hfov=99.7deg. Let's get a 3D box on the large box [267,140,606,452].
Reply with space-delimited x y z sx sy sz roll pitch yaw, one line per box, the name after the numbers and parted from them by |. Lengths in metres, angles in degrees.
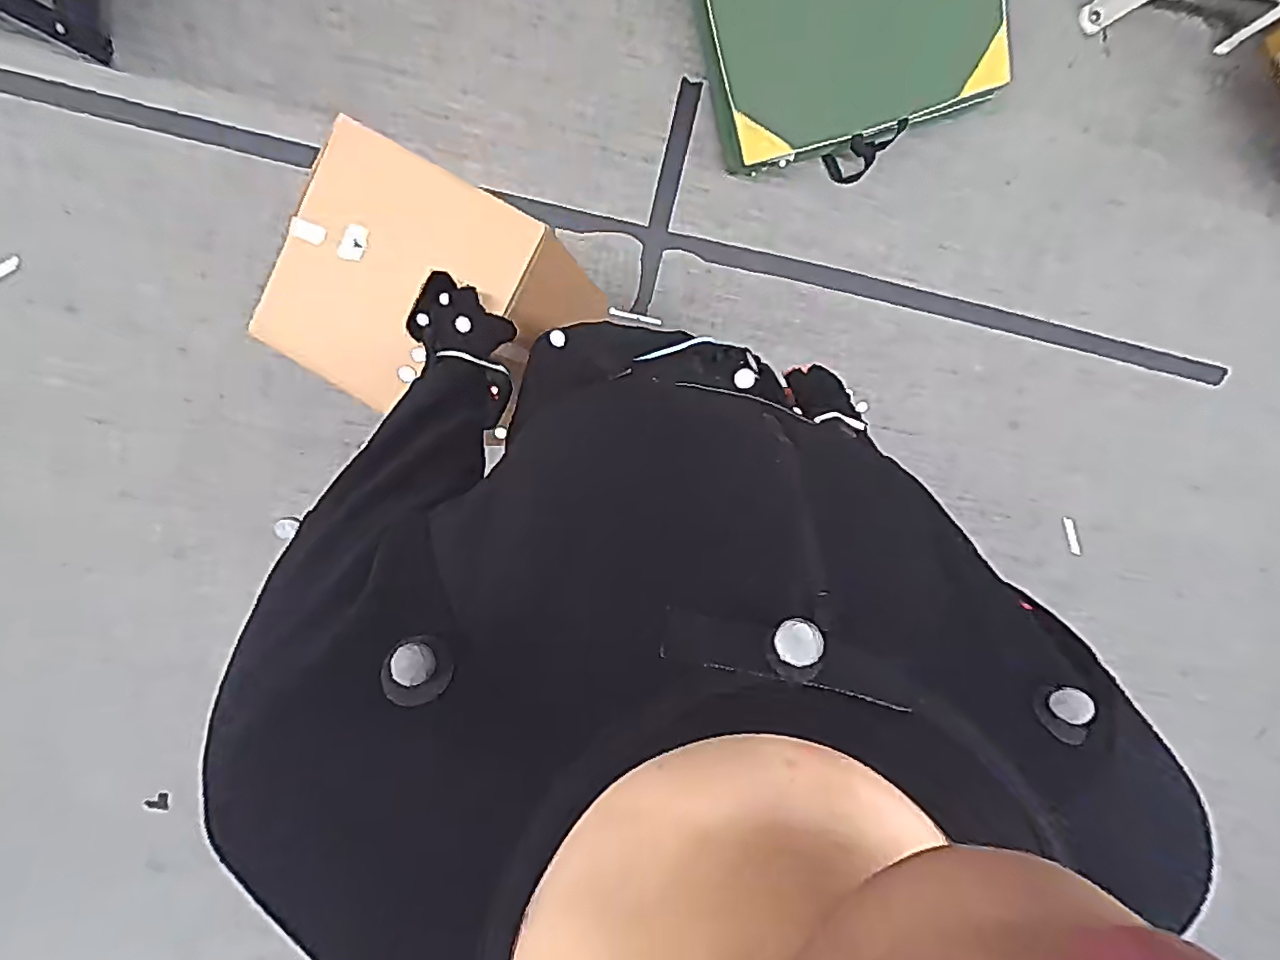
-0.293 -0.263 0.899 0.320 0.408 0.320 31 99 3 | large box
